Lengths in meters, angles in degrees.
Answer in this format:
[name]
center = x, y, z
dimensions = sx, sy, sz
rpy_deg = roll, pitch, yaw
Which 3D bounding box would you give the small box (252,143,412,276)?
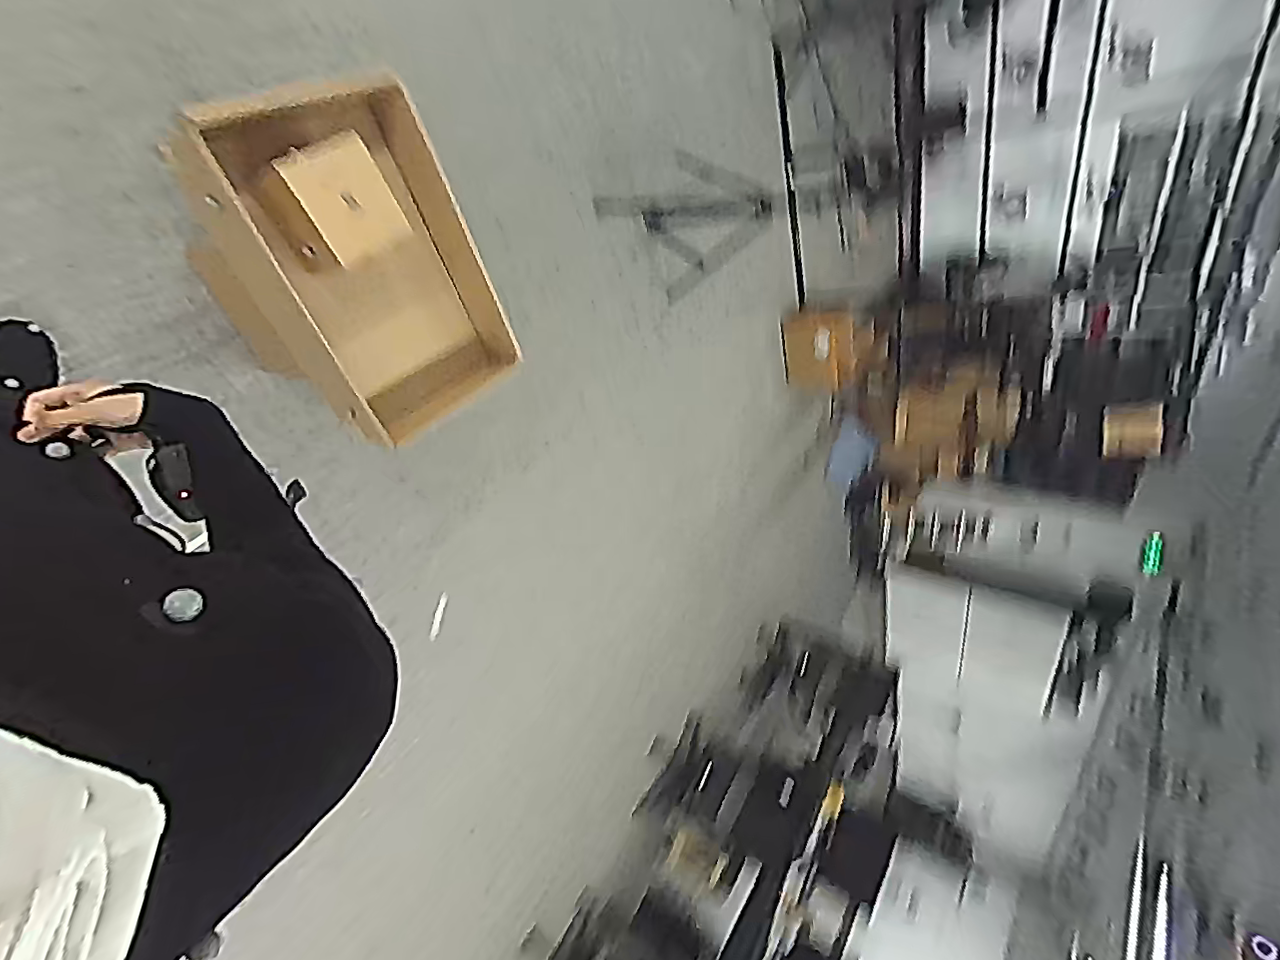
[small box]
center = -0.578, -0.500, 1.021
dimensions = 0.168, 0.176, 0.179
rpy_deg = -49, 133, -31
